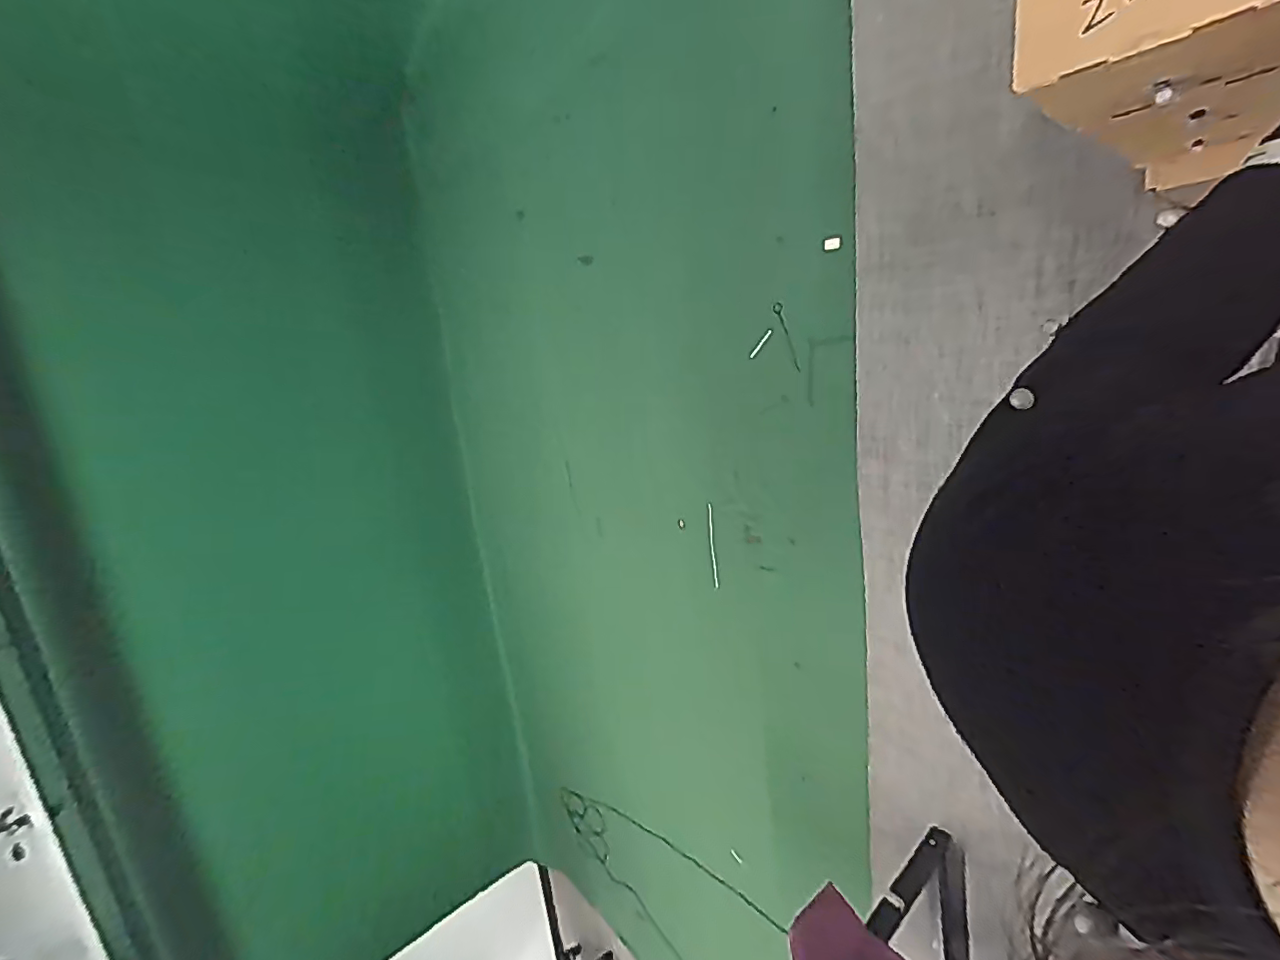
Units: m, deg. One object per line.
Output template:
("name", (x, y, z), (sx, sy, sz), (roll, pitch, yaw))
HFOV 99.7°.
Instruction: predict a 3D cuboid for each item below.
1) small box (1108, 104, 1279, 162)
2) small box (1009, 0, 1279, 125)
("small box", (0.664, -0.492, 0.618), (0.168, 0.176, 0.179), (9, 111, 49))
("small box", (0.414, -0.411, 0.419), (0.168, 0.176, 0.179), (11, 113, 49))
